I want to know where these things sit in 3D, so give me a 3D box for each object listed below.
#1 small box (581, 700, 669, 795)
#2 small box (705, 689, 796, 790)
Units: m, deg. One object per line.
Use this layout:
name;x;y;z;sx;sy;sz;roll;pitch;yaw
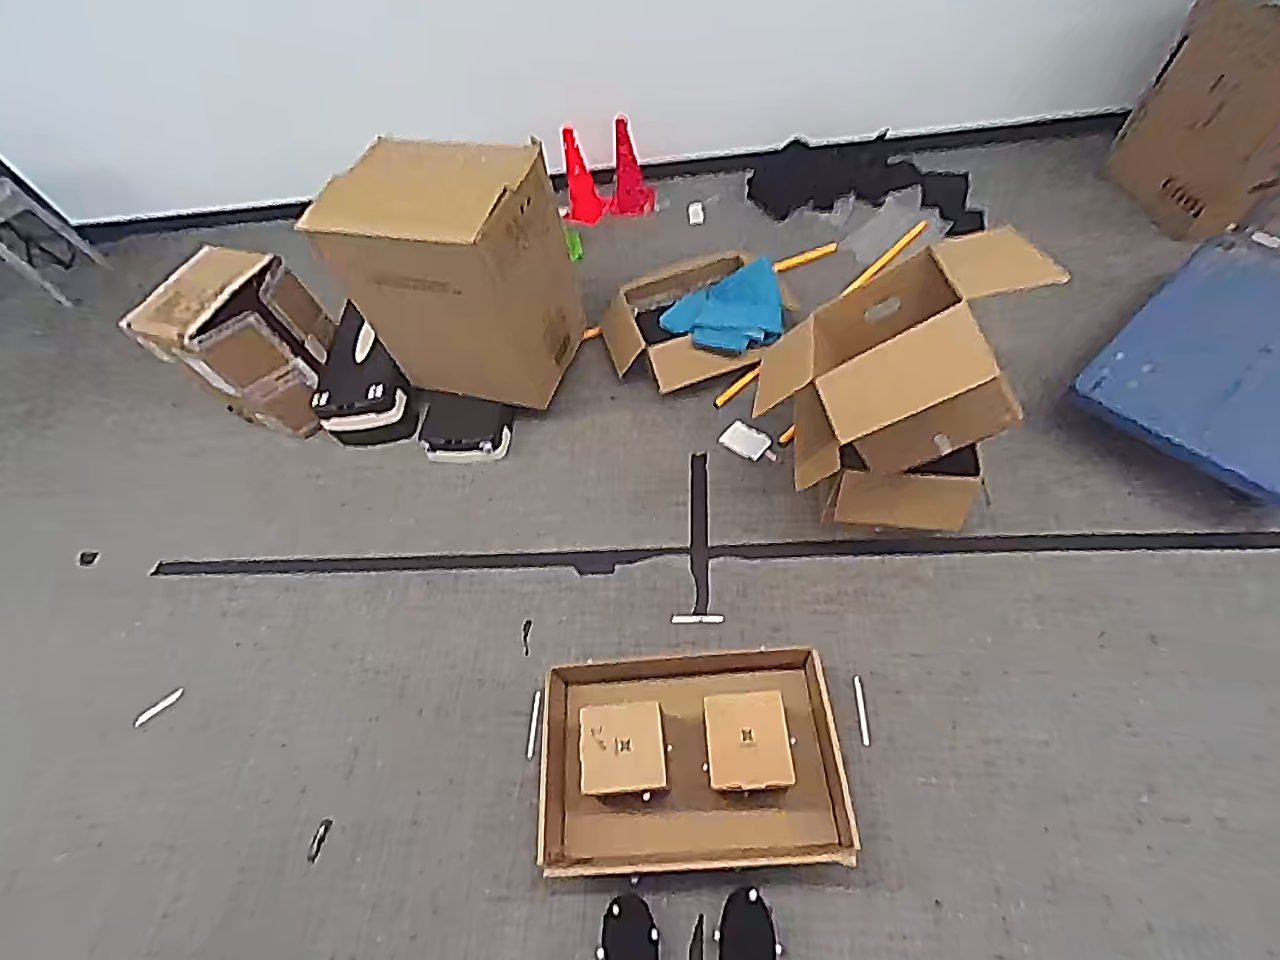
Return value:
small box;-0.029;0.588;1.185;0.179;0.176;0.168;-7;57;3
small box;0.229;0.562;1.166;0.168;0.176;0.179;-6;58;5
